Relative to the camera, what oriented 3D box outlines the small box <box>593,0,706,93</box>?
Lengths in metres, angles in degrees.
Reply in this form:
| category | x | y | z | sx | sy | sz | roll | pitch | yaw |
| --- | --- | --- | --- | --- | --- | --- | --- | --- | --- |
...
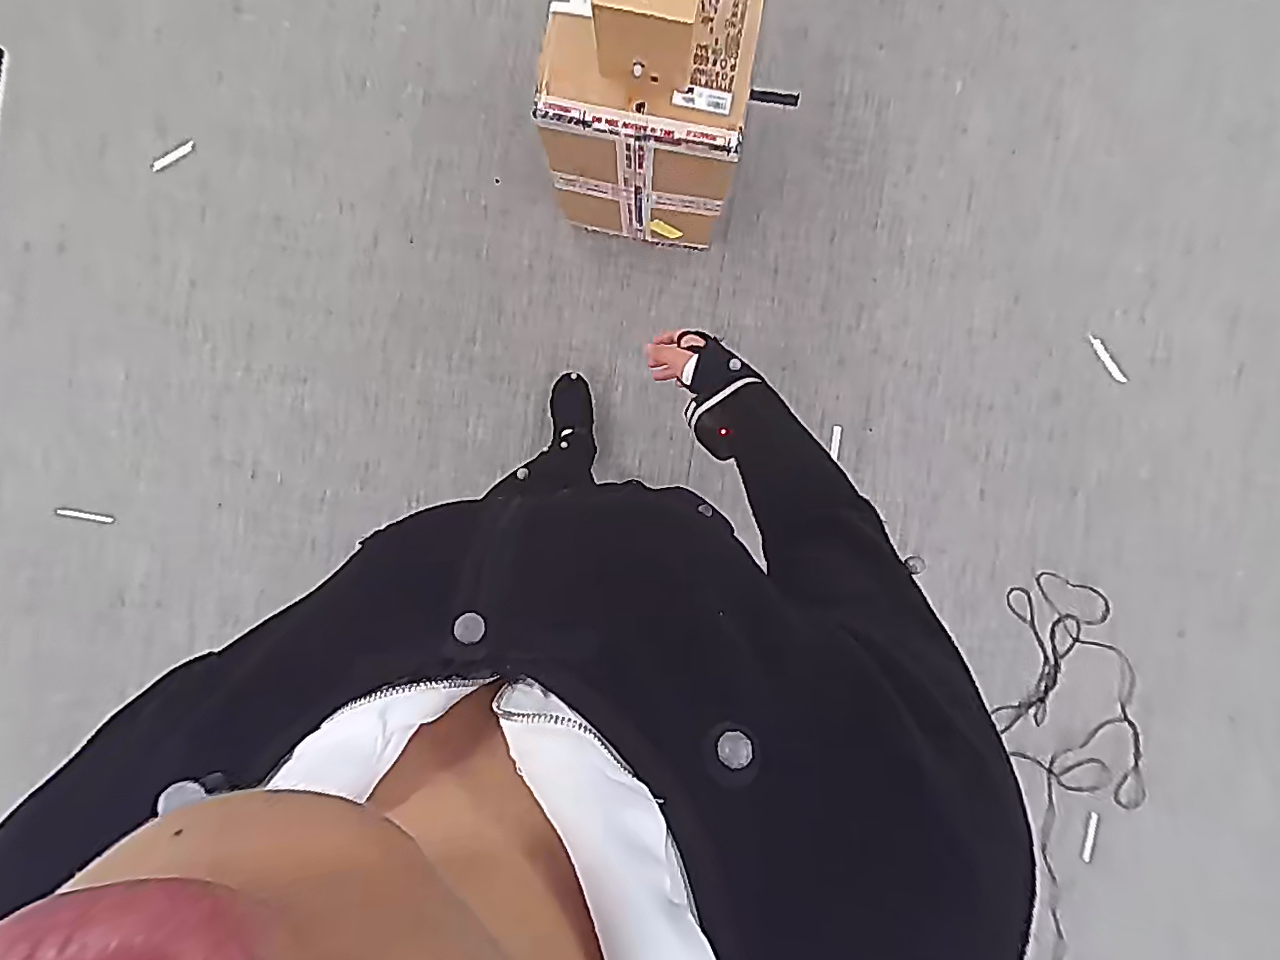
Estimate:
| category | x | y | z | sx | sy | sz | roll | pitch | yaw |
| --- | --- | --- | --- | --- | --- | --- | --- | --- | --- |
| small box | 0.023 | -0.802 | 0.905 | 0.168 | 0.176 | 0.179 | 12 | 95 | 0 |
